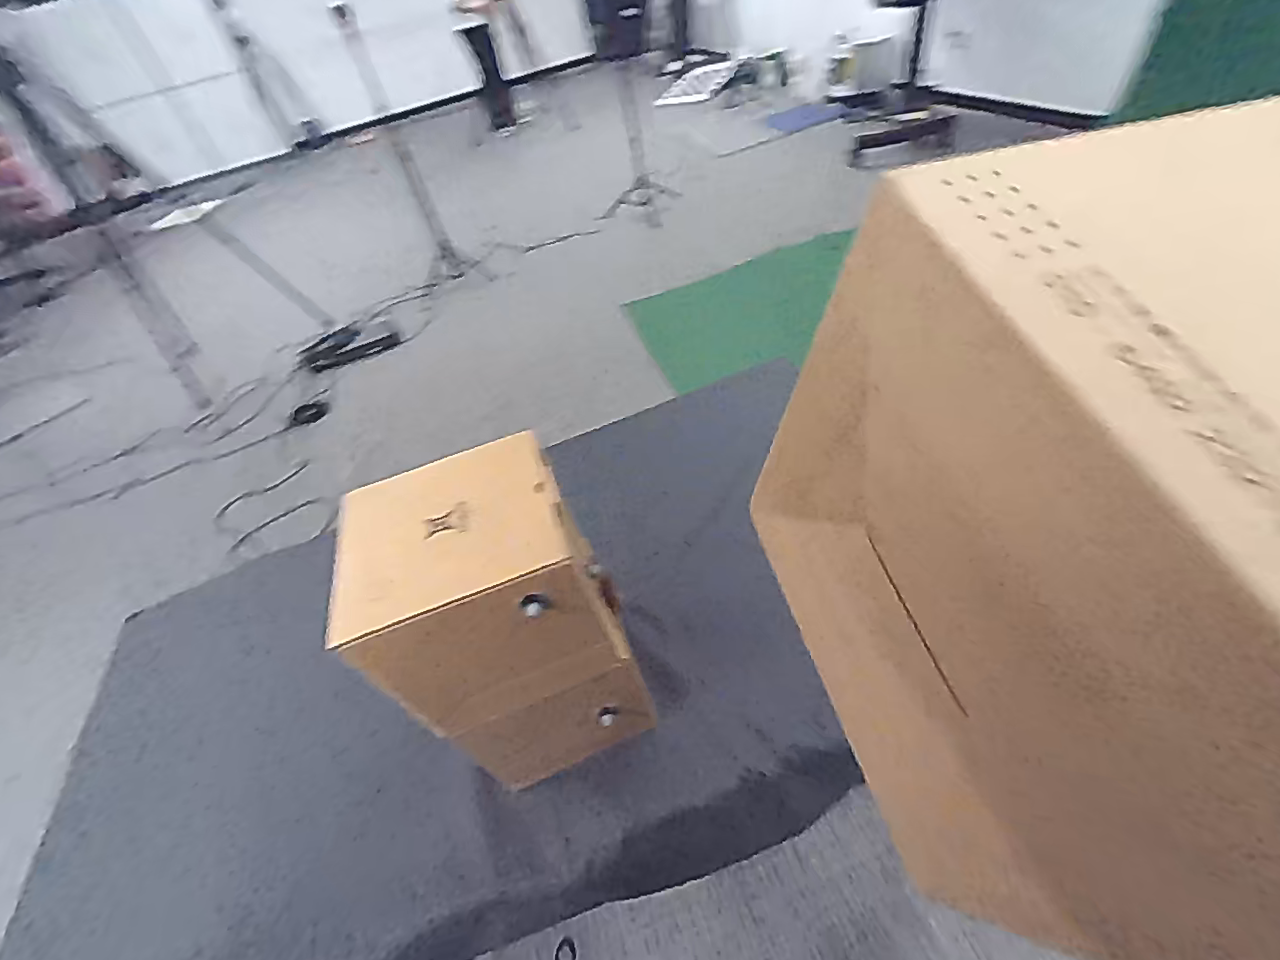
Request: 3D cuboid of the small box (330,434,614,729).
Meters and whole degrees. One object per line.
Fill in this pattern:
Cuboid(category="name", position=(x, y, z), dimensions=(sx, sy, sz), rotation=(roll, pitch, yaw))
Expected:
Cuboid(category="small box", position=(-0.141, 0.093, 0.489), dimensions=(0.179, 0.176, 0.168), rotation=(-21, 44, -7))

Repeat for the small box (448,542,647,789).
Cuboid(category="small box", position=(-0.102, 0.205, 0.600), dimensions=(0.179, 0.176, 0.168), rotation=(-23, 44, -7))
